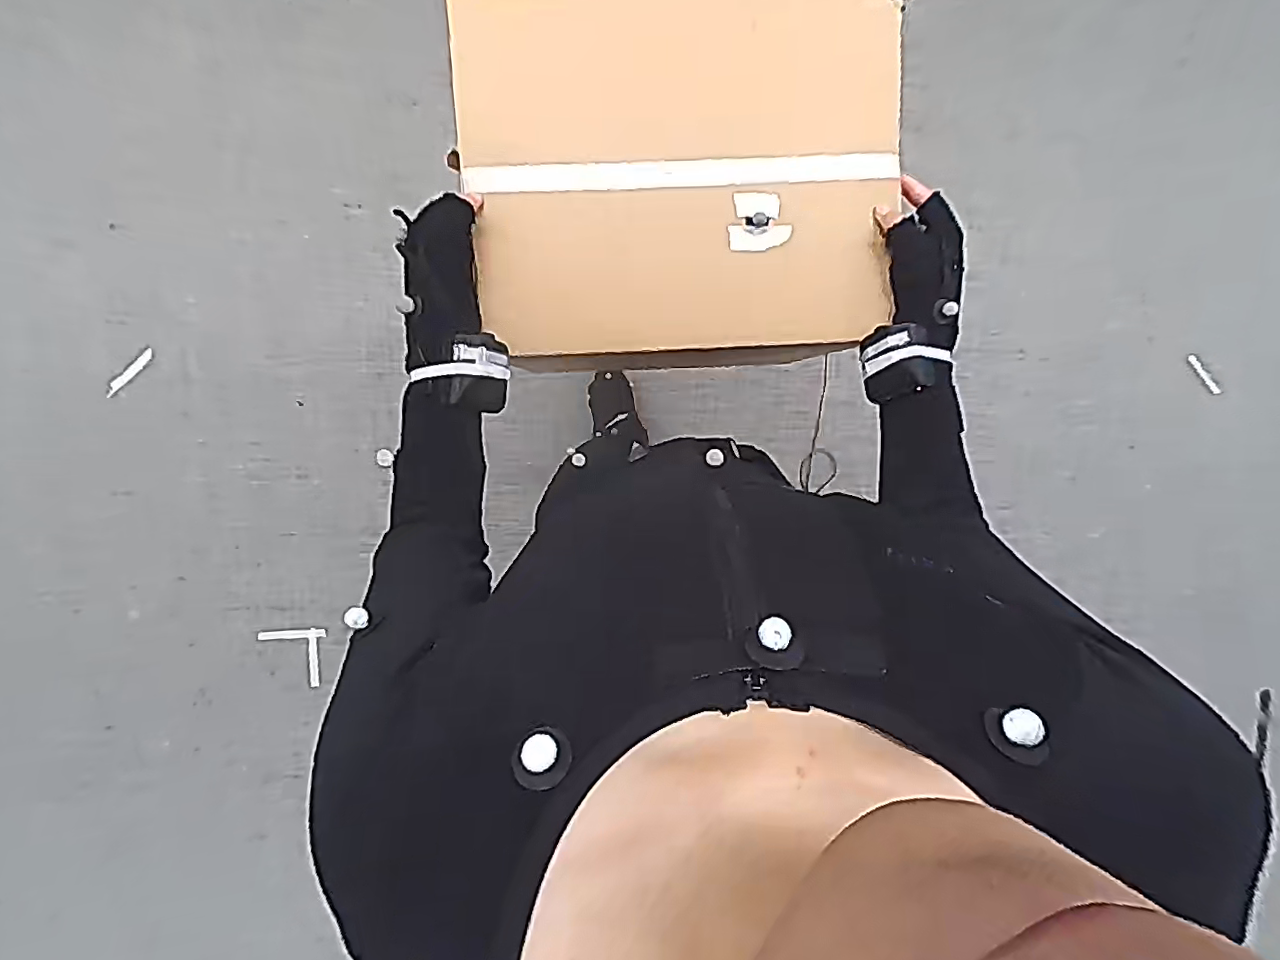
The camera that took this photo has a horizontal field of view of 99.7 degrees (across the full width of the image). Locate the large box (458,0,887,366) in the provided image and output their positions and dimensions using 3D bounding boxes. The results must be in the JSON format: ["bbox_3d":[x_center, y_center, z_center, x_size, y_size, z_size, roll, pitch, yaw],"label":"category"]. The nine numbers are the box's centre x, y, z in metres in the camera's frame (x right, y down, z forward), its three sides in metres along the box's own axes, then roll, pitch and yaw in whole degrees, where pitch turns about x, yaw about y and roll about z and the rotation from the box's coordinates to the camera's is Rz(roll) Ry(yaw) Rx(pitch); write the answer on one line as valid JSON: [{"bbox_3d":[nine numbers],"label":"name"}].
[{"bbox_3d":[0.030,-0.318,0.663,0.408,0.320,0.320,-3,99,-3],"label":"large box"}]
